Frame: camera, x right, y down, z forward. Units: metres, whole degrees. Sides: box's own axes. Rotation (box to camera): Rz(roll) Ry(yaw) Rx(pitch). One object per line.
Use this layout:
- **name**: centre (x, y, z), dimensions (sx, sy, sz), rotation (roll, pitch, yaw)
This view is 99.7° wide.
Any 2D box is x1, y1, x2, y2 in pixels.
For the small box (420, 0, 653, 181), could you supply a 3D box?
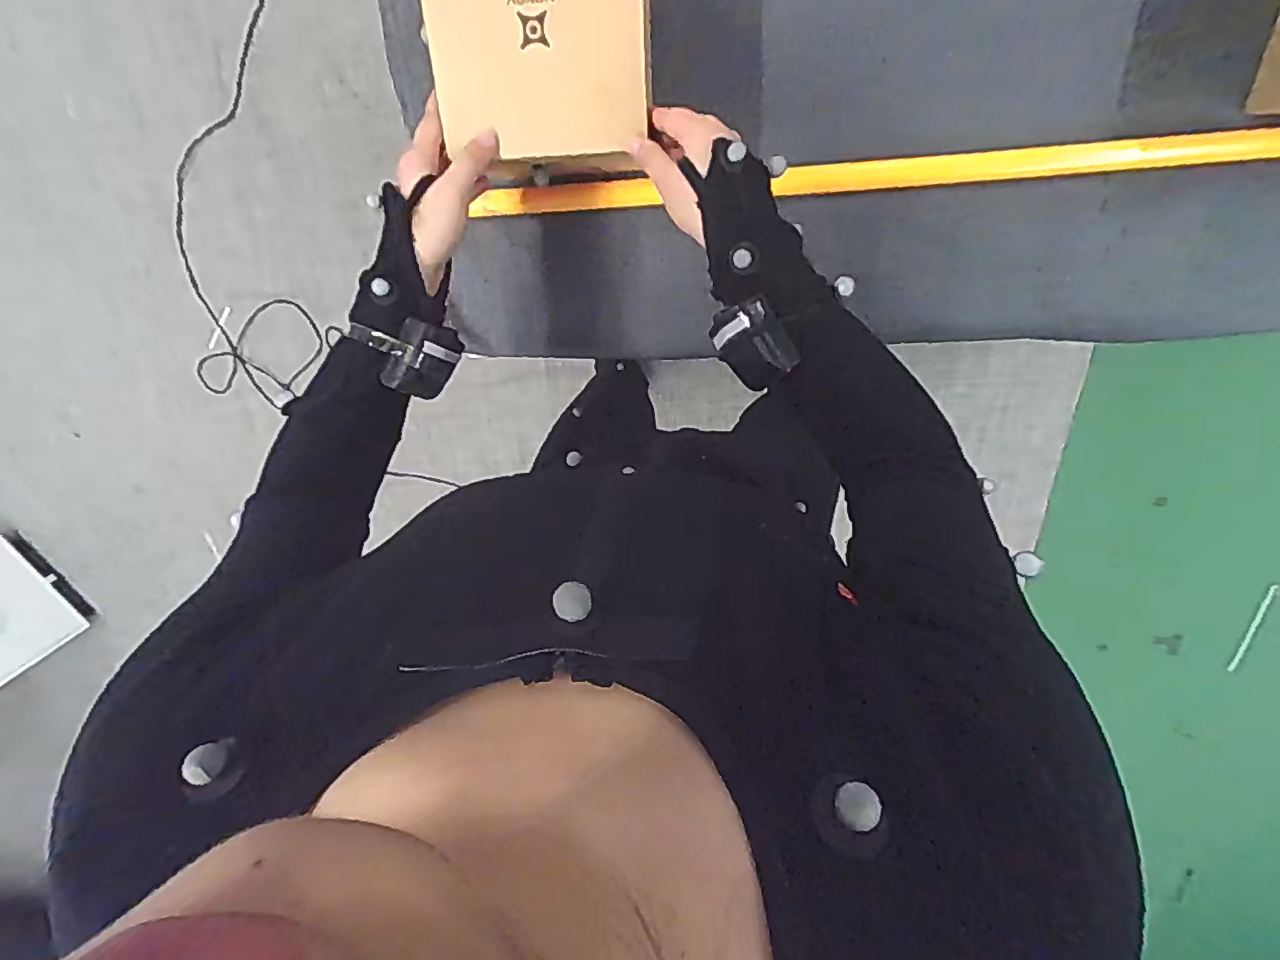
- **small box**: centre (-0.075, -0.368, 0.474), dimensions (0.168, 0.176, 0.179), rotation (-2, 114, 3)

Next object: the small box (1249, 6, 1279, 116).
- **small box**: centre (0.642, -0.386, 0.404), dimensions (0.168, 0.176, 0.179), rotation (2, 115, 5)
